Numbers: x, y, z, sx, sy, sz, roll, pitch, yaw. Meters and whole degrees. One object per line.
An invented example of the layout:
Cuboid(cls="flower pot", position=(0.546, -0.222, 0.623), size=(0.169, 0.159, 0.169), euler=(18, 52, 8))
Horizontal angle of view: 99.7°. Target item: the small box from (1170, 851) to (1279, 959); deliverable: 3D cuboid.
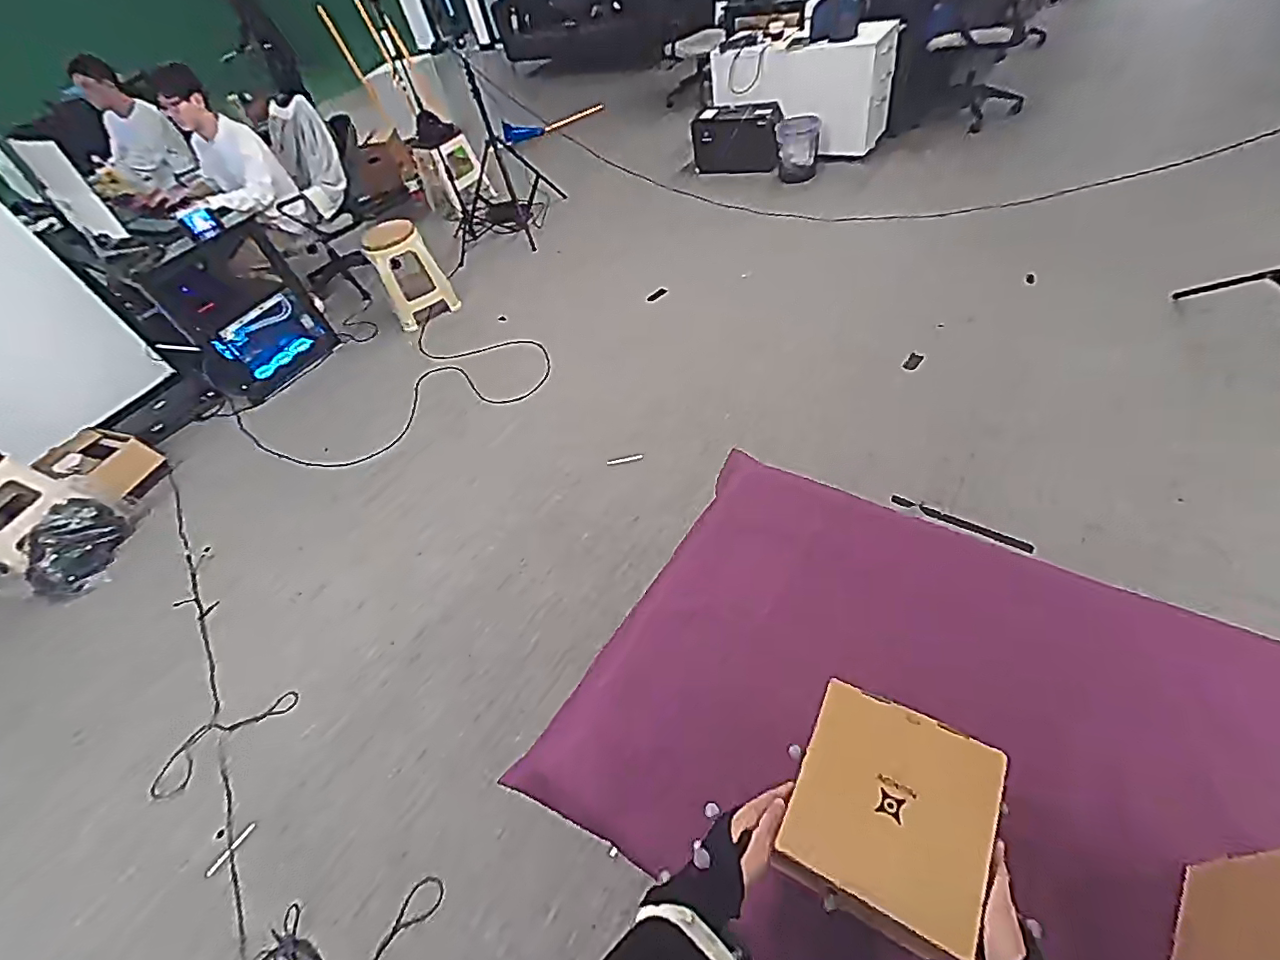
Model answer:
Cuboid(cls="small box", position=(0.554, 0.432, 0.413), size=(0.168, 0.176, 0.179), euler=(26, 60, 30))

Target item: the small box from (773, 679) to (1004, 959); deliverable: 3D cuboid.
Cuboid(cls="small box", position=(0.248, 0.347, 0.561), size=(0.168, 0.176, 0.179), euler=(17, 55, 26))
